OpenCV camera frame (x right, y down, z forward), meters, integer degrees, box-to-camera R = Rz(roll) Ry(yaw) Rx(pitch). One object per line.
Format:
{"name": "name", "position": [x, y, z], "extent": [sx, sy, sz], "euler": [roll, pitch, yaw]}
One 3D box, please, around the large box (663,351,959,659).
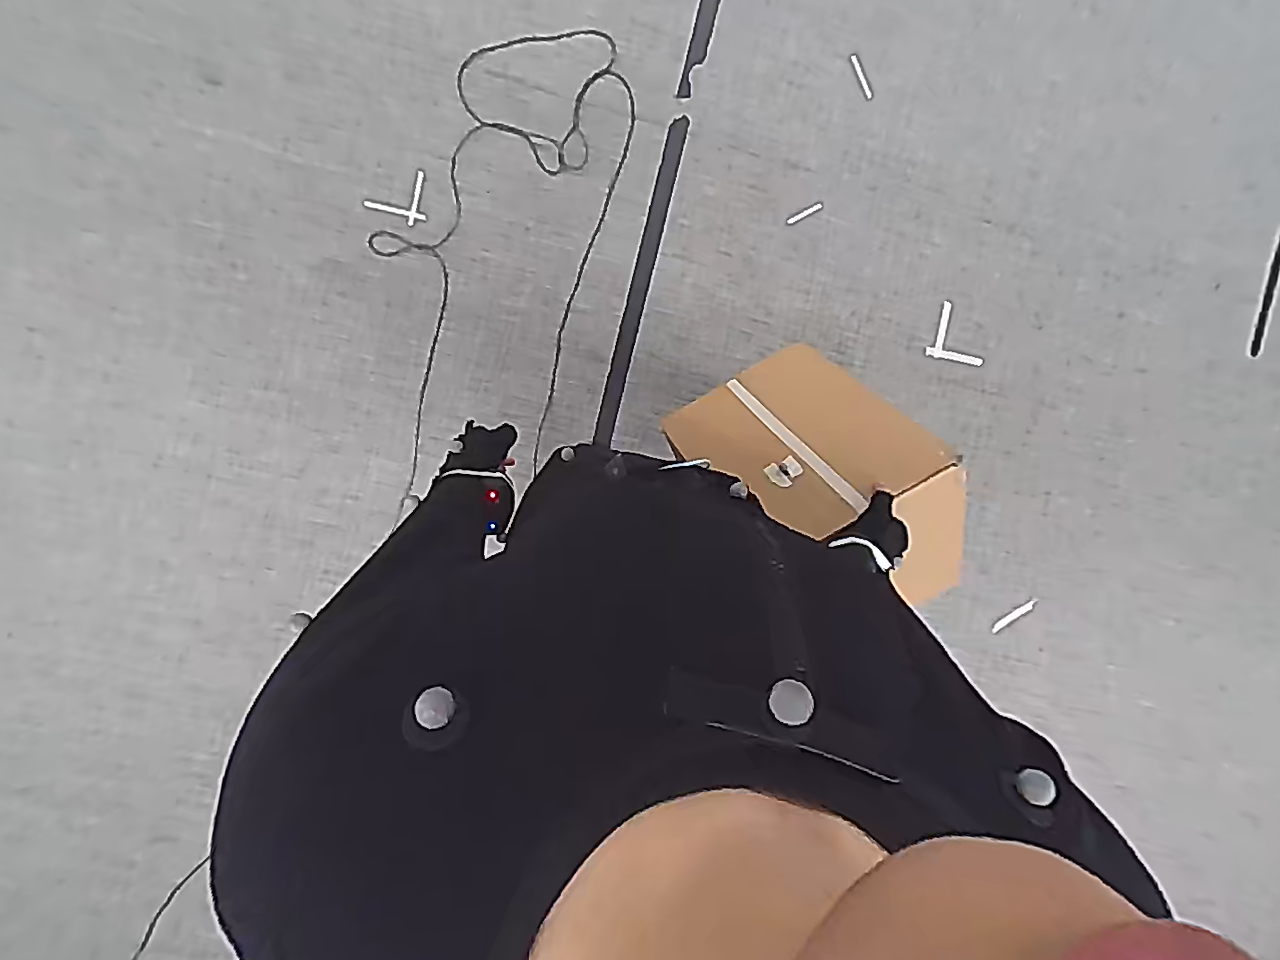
{"name": "large box", "position": [0.292, 0.033, 0.986], "extent": [0.320, 0.408, 0.320], "euler": [-30, 132, 0]}
